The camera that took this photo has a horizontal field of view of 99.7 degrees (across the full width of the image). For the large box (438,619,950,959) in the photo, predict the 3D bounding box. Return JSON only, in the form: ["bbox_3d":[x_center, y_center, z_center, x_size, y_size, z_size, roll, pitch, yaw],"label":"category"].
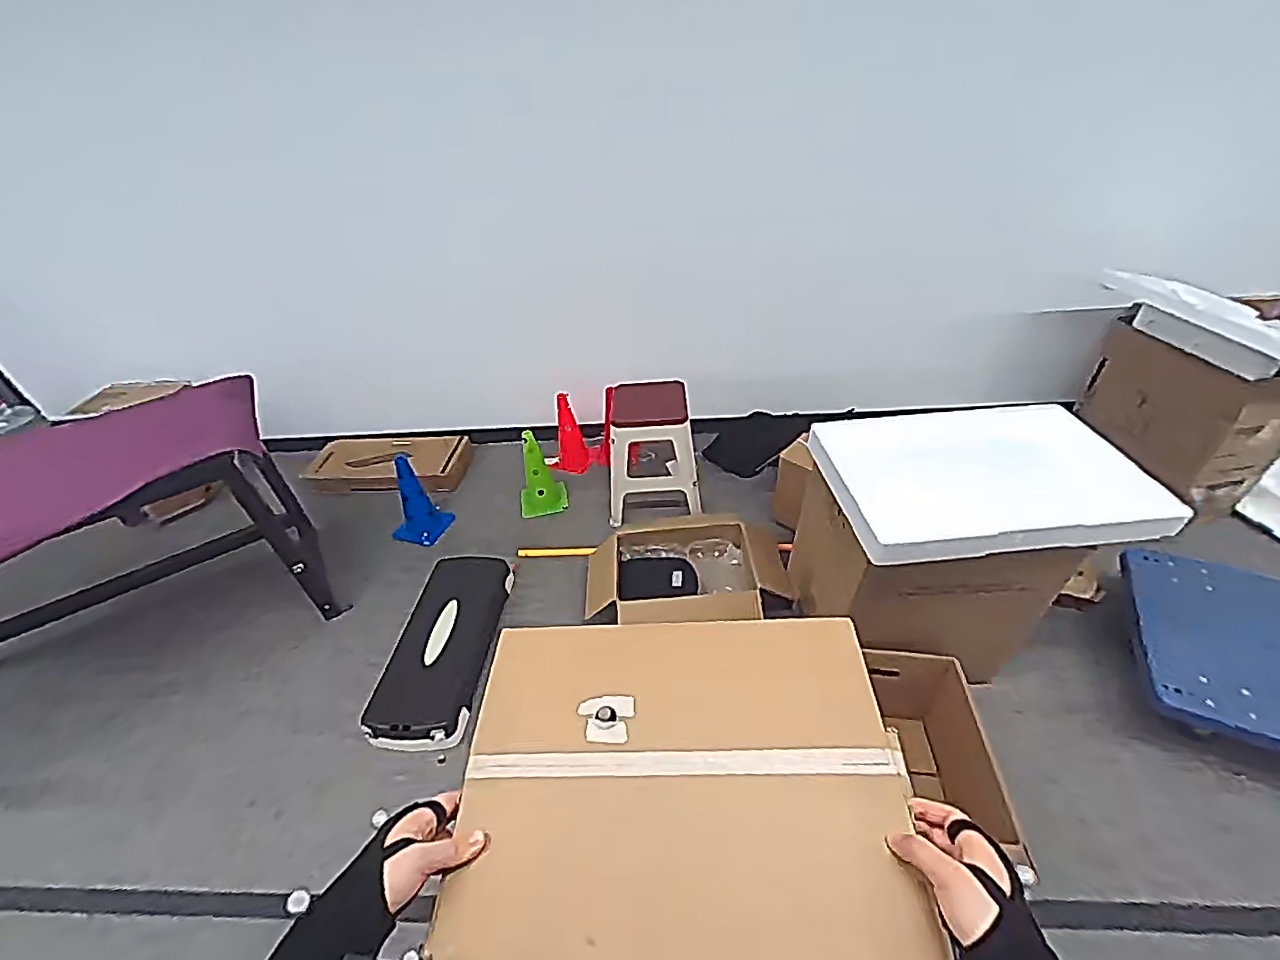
[{"bbox_3d":[0.057,0.388,0.618,0.408,0.320,0.320,-5,41,7],"label":"large box"}]
